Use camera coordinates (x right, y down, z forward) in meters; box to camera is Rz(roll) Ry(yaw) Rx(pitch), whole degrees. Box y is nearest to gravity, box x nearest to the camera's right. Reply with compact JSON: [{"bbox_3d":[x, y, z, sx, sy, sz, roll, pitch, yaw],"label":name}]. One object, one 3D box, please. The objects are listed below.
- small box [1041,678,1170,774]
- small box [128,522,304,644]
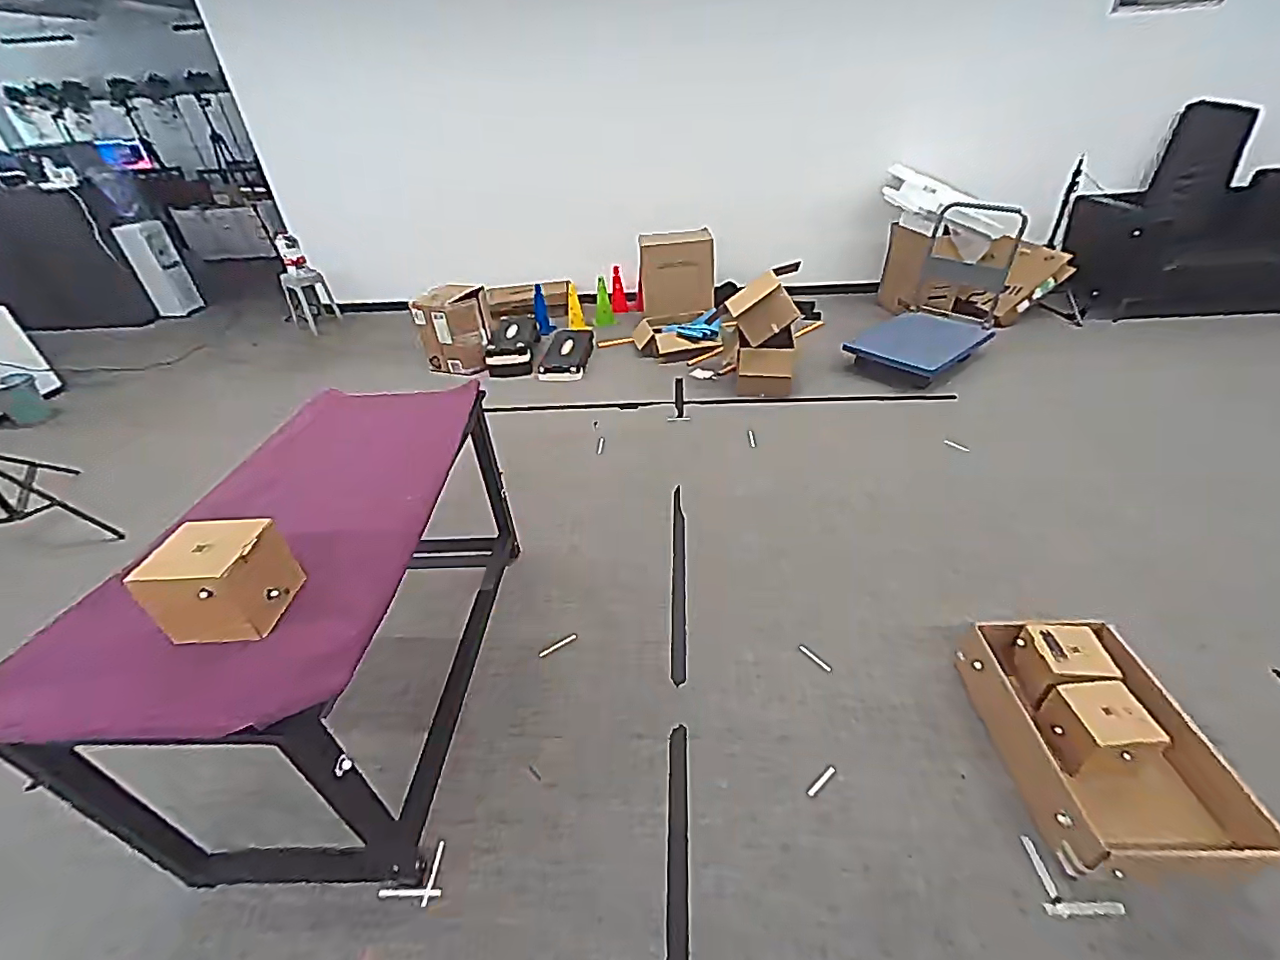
[{"bbox_3d":[1.193,0.643,1.409,0.179,0.176,0.168,-4,36,0],"label":"small box"},{"bbox_3d":[-0.797,0.199,1.040,0.179,0.176,0.168,-3,34,0],"label":"small box"}]
